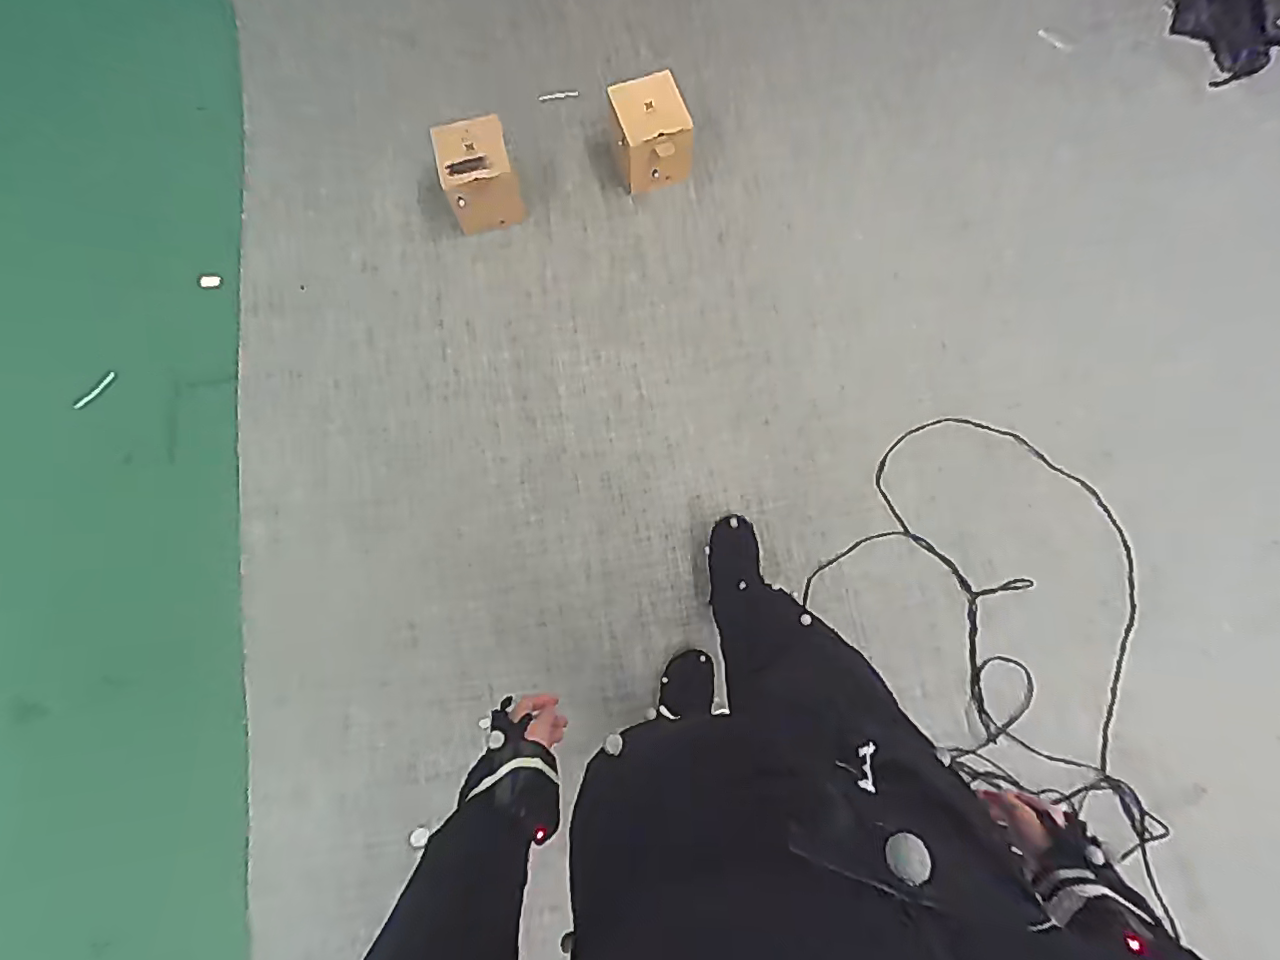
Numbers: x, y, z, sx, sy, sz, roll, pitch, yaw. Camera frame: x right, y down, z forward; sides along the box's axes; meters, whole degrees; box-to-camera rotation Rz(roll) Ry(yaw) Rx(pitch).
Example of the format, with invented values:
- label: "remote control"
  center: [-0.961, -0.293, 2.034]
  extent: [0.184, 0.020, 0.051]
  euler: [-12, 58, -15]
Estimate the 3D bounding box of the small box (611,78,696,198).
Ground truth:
- label: "small box"
  center: [0.030, -0.865, 1.379]
  extent: [0.168, 0.176, 0.179]
  euler: [-19, 79, -4]
